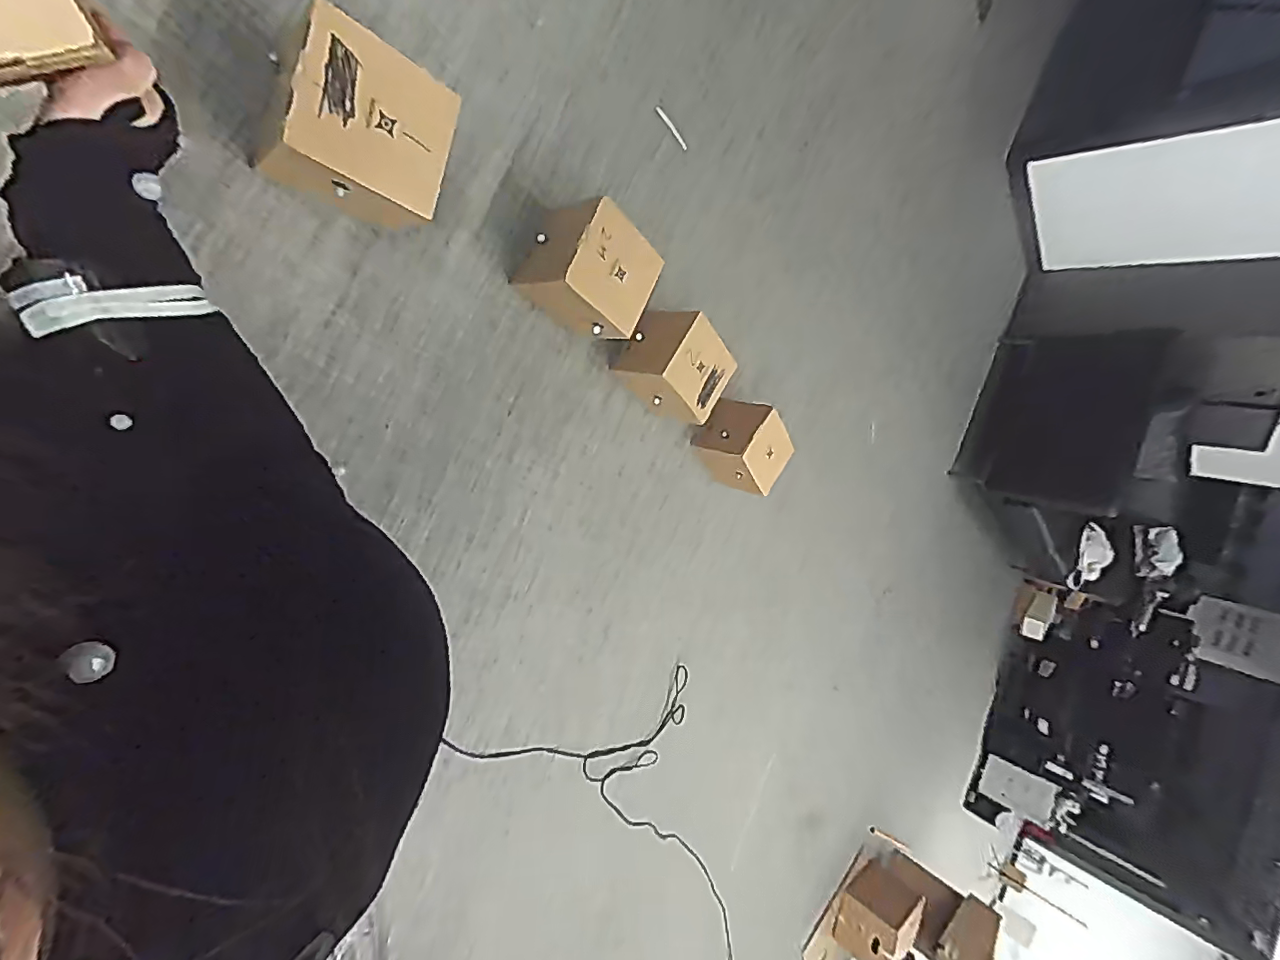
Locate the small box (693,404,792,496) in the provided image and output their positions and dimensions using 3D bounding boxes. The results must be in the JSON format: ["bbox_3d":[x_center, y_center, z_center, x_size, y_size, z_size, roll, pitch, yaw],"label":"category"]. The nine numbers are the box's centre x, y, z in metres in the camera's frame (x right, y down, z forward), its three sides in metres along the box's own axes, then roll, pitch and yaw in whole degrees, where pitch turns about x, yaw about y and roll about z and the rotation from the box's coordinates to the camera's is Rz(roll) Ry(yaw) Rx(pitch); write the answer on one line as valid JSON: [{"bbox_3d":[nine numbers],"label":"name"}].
[{"bbox_3d":[0.267,-0.086,1.424,0.168,0.176,0.179,-54,133,-17],"label":"small box"}]

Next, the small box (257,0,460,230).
[{"bbox_3d":[-0.369,-0.446,0.702,0.179,0.176,0.168,13,93,-46],"label":"small box"}]

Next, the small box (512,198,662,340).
[{"bbox_3d":[-0.097,-0.375,0.985,0.179,0.176,0.168,31,80,-44],"label":"small box"}]

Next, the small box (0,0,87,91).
[{"bbox_3d":[-0.369,-0.251,0.206,0.168,0.176,0.179,-31,137,-22],"label":"small box"}]

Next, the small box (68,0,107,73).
[{"bbox_3d":[-0.467,-0.329,0.312,0.179,0.176,0.168,-30,136,-22],"label":"small box"}]
